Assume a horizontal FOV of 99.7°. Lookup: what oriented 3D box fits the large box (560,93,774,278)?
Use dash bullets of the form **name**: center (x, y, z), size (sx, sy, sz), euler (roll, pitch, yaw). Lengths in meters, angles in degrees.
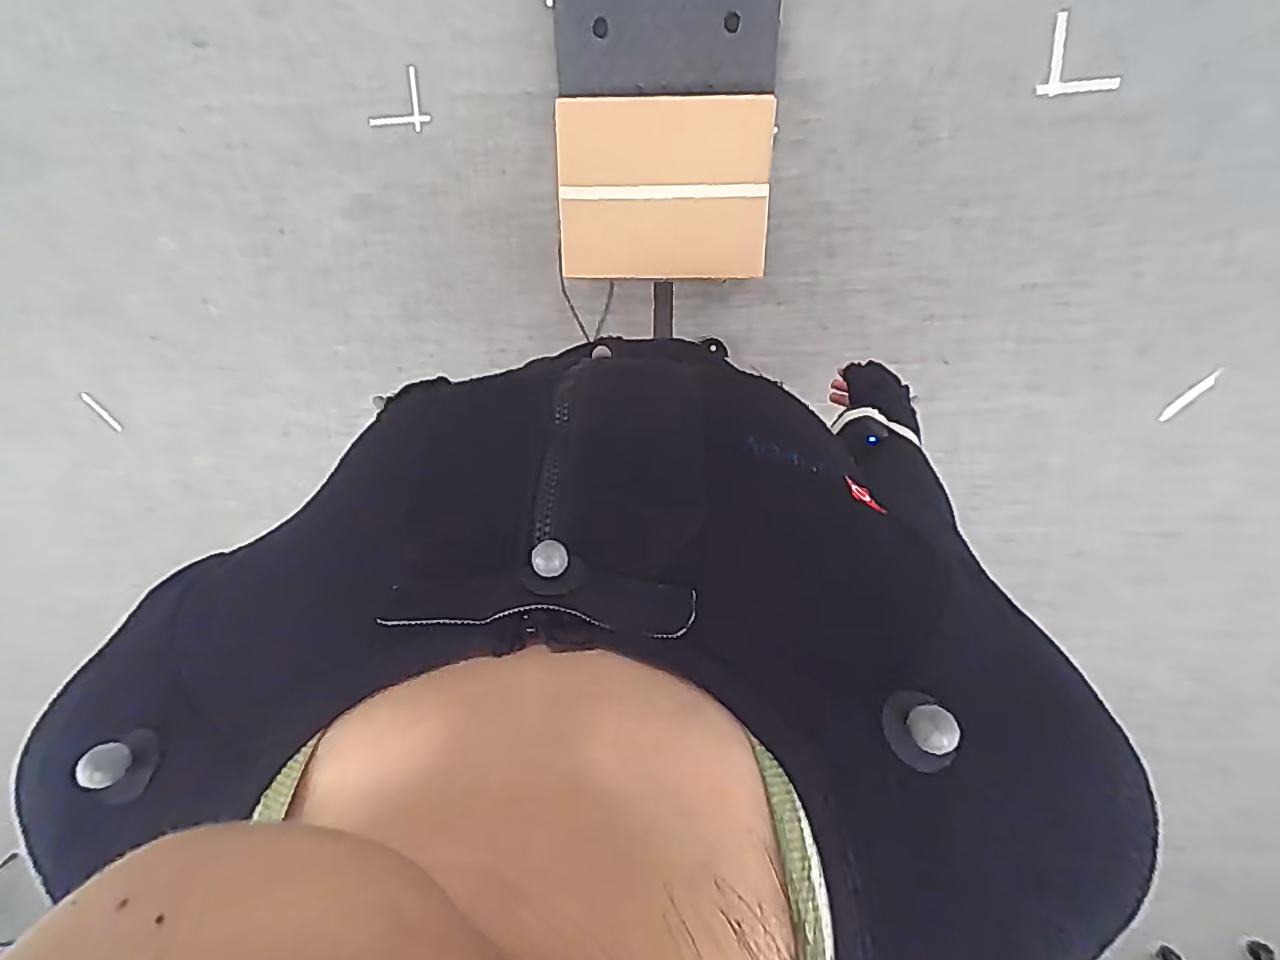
- **large box**: center (0.062, -0.609, 1.182), size (0.408, 0.320, 0.320), euler (1, 109, 4)
